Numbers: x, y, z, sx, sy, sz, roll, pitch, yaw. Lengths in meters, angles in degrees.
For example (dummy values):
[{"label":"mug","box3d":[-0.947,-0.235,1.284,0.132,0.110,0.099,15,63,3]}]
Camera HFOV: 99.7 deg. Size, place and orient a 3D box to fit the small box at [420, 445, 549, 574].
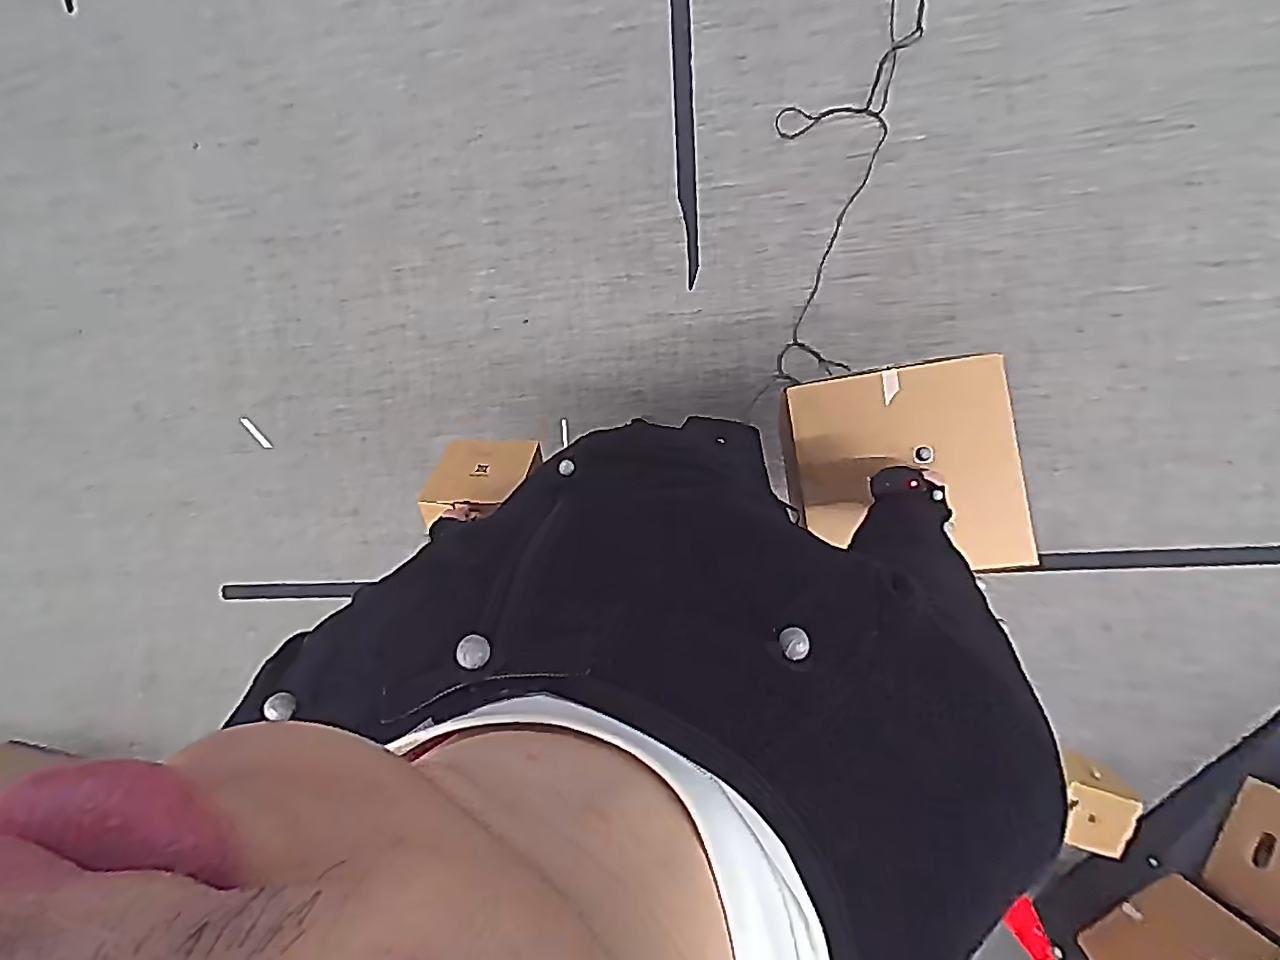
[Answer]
[{"label":"small box","box3d":[-0.270,0.054,0.989,0.168,0.179,0.176,1,129,4]}]
